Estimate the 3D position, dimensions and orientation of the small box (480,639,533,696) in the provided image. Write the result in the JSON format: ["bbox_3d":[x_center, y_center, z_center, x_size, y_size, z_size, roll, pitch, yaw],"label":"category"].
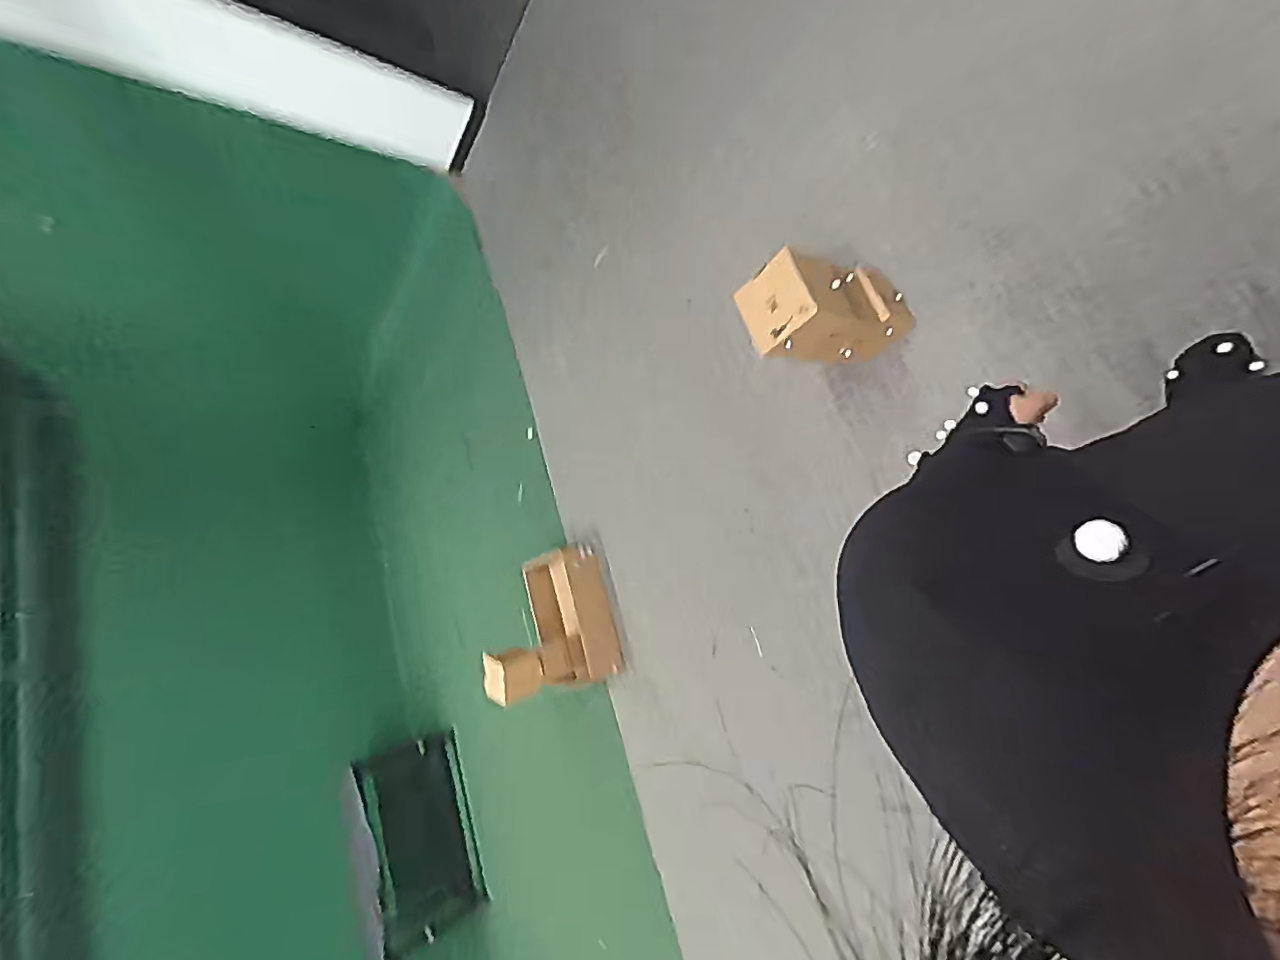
[{"bbox_3d":[-0.573,0.803,2.337,0.179,0.176,0.168,2,94,49],"label":"small box"}]

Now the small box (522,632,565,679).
[{"bbox_3d":[-0.455,0.799,2.450,0.179,0.176,0.168,-31,70,46],"label":"small box"}]

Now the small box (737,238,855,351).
[{"bbox_3d":[0.361,-0.418,1.251,0.168,0.176,0.179,-35,68,45],"label":"small box"}]

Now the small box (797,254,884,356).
[{"bbox_3d":[0.478,-0.432,1.366,0.168,0.176,0.179,-35,69,46],"label":"small box"}]

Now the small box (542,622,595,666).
[{"bbox_3d":[-0.342,0.788,2.568,0.179,0.176,0.168,-32,70,45],"label":"small box"}]
